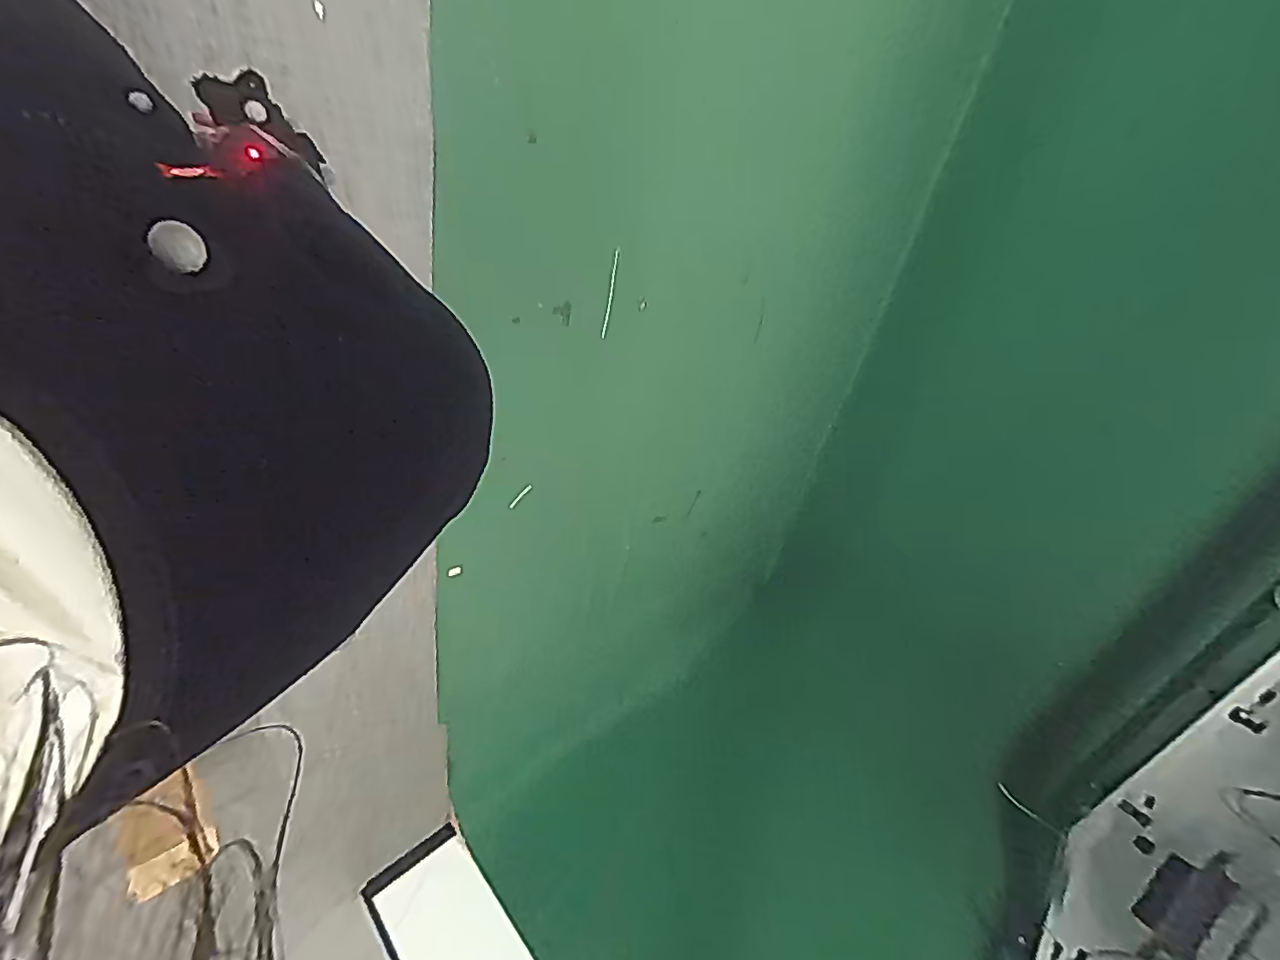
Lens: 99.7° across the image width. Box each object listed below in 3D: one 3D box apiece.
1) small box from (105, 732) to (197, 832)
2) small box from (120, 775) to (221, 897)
[{"bbox_3d":[-1.371,0.861,1.527,0.179,0.176,0.168,-19,134,-45],"label":"small box"},{"bbox_3d":[-1.256,0.942,1.444,0.179,0.176,0.168,-15,131,-45],"label":"small box"}]
